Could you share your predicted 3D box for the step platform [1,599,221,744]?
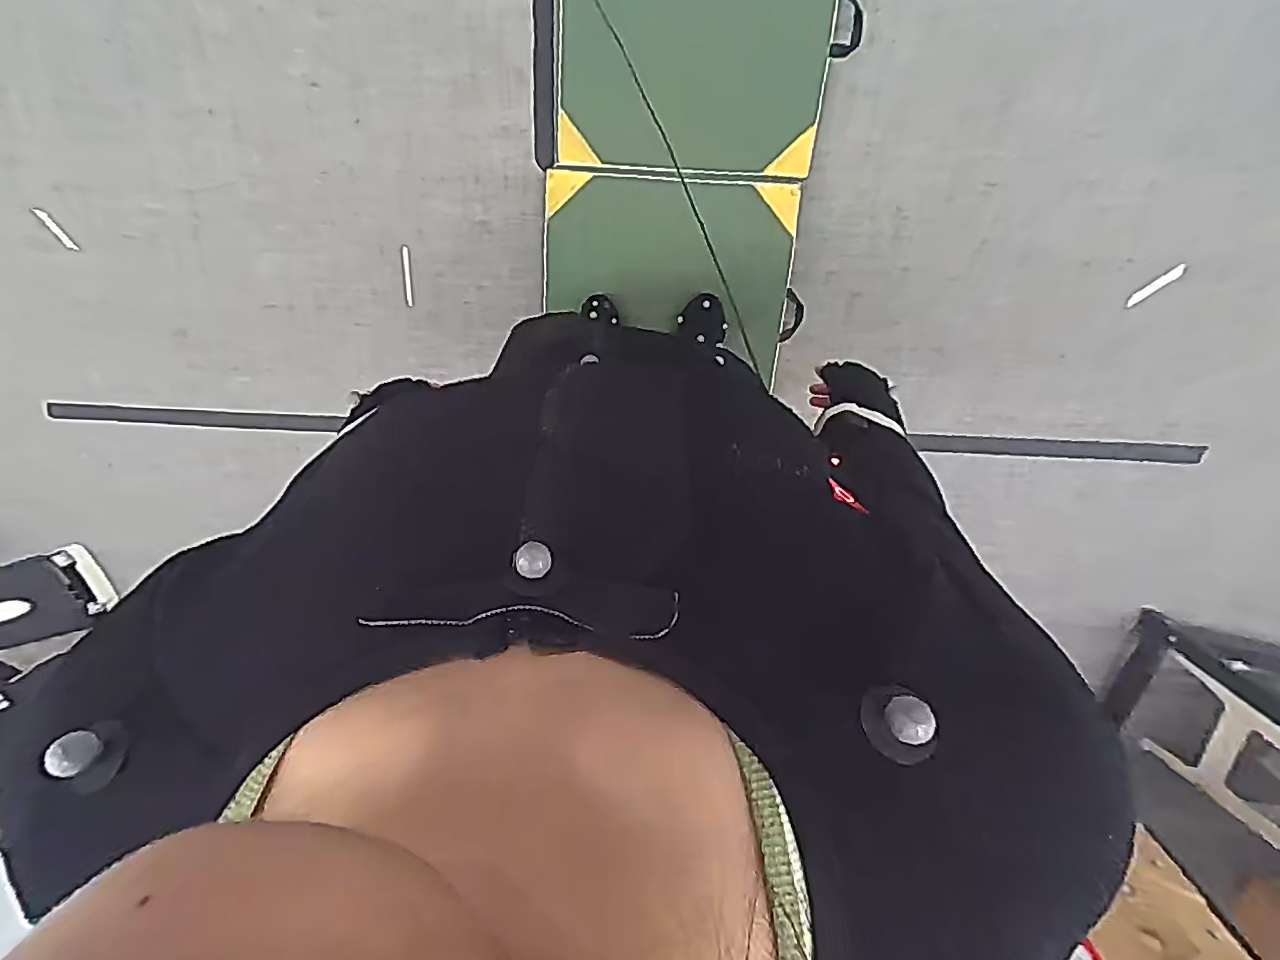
[{"bbox_3d":[-1.867,0.682,1.909,0.684,0.204,0.286,-25,105,12],"label":"step platform"}]
